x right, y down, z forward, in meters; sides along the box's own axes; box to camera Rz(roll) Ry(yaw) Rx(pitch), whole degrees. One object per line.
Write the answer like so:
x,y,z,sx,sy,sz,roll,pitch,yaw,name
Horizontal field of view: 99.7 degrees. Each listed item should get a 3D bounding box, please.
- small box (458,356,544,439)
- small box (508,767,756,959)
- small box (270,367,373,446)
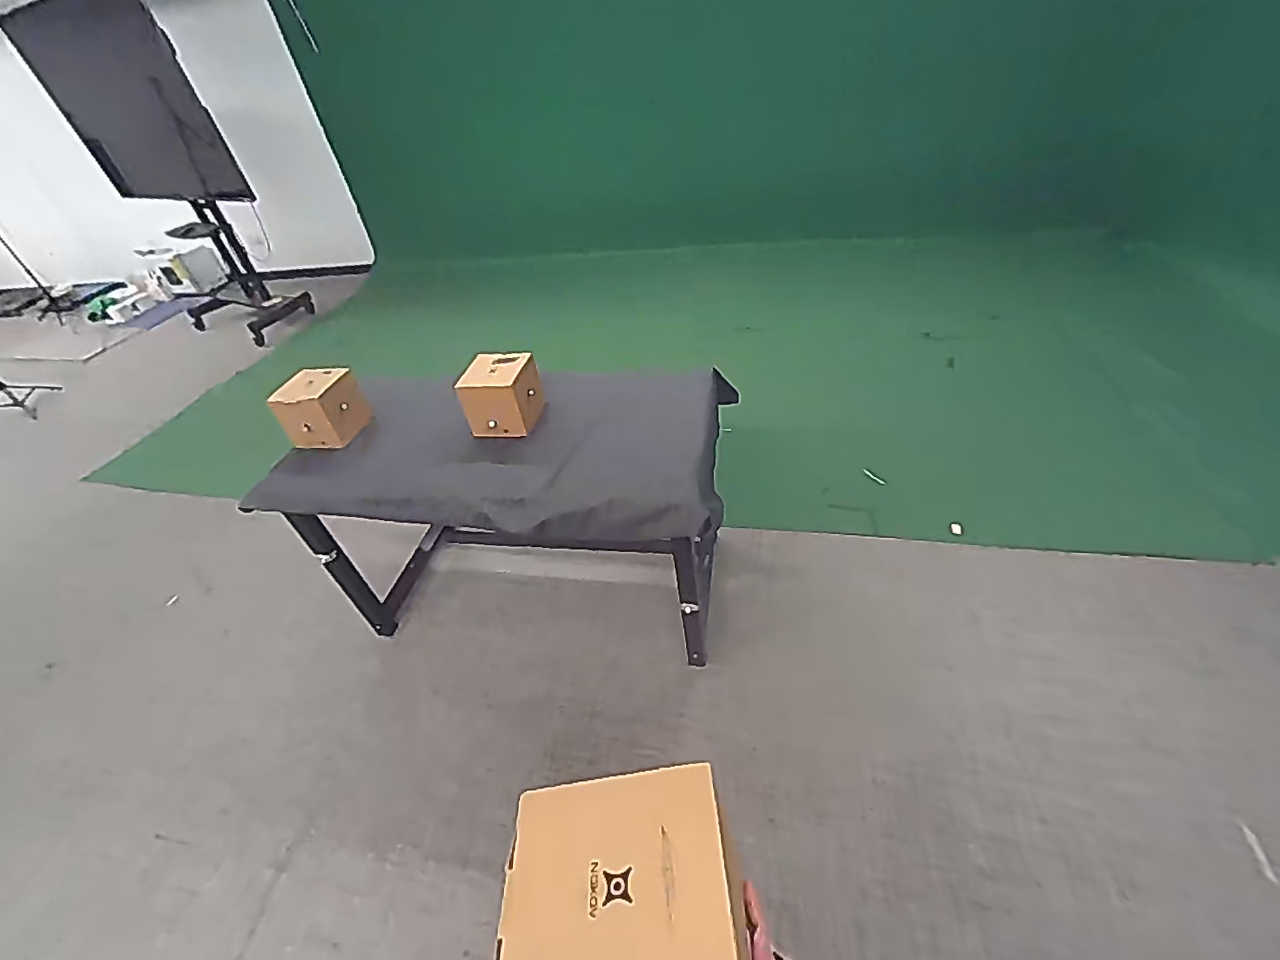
-0.382,-0.235,1.529,0.168,0.176,0.179,2,43,12,small box
0.002,0.380,0.462,0.179,0.176,0.168,-11,35,4,small box
-0.929,-0.215,1.598,0.168,0.176,0.179,1,42,10,small box
